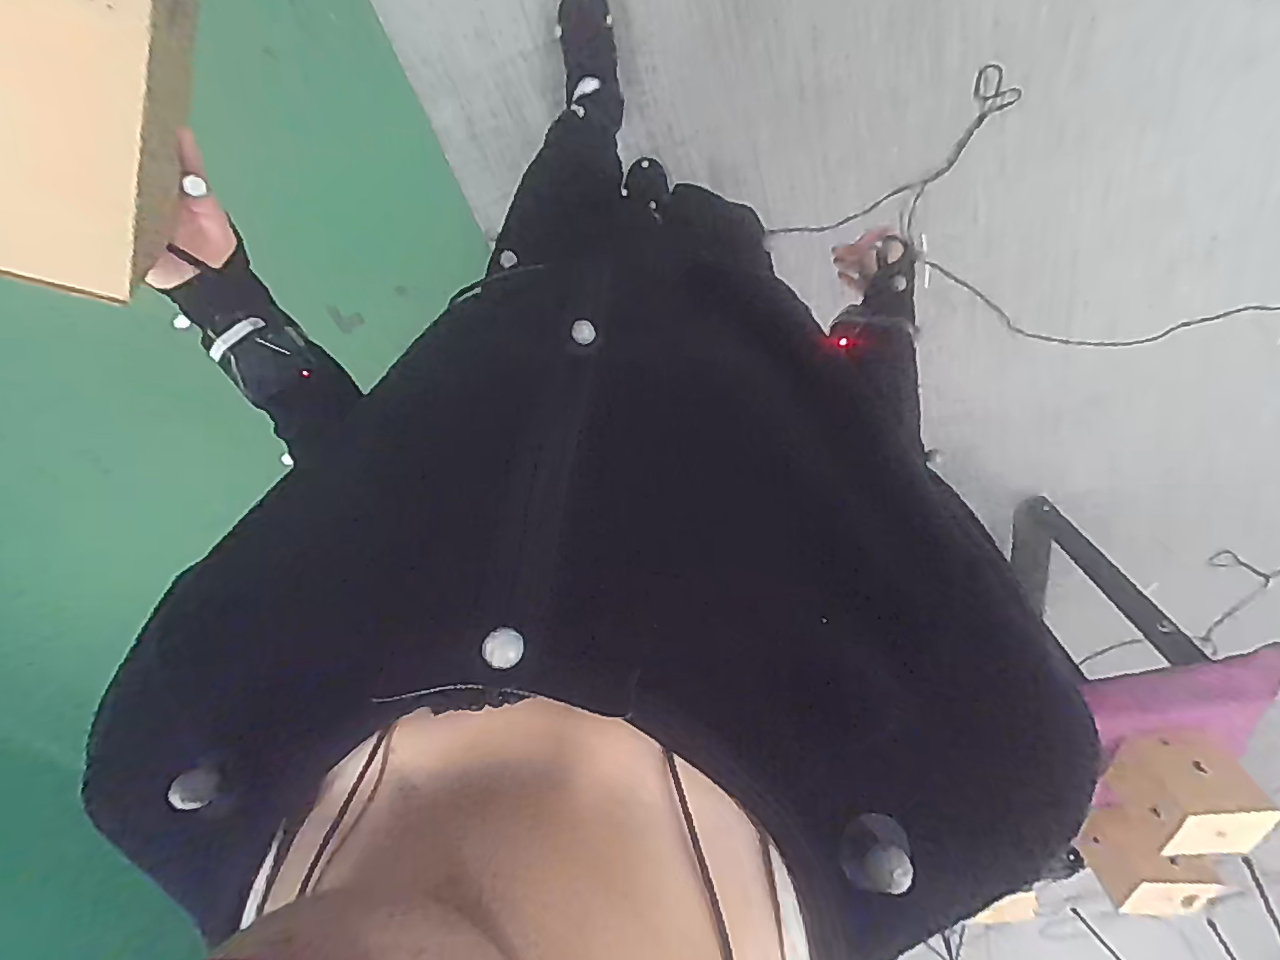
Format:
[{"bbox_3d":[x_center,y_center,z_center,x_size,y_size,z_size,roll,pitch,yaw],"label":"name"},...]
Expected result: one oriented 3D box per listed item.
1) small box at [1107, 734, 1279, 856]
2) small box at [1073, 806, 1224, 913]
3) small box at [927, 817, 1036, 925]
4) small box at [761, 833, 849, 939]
[{"bbox_3d":[1.139,0.653,1.134,0.168,0.176,0.179,-8,123,7],"label":"small box"},{"bbox_3d":[1.212,0.913,1.306,0.179,0.176,0.168,-4,122,5],"label":"small box"},{"bbox_3d":[0.851,0.980,1.362,0.179,0.176,0.168,-16,120,10],"label":"small box"},{"bbox_3d":[0.434,1.074,1.433,0.168,0.176,0.179,-20,120,12],"label":"small box"}]
